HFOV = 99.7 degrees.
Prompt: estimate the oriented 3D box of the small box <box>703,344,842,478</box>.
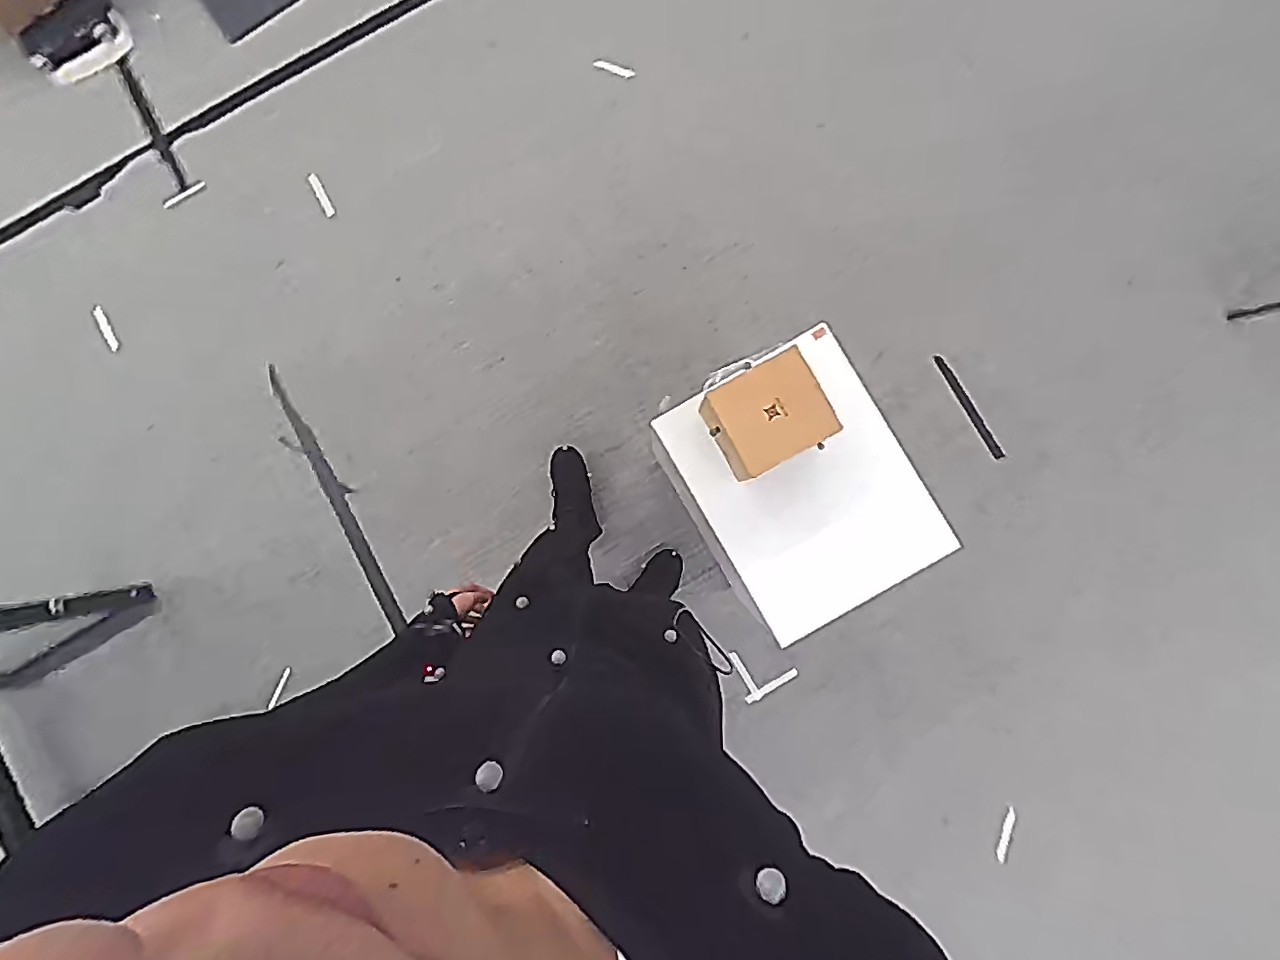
[{"bbox_3d":[0.225,-0.113,0.977,0.179,0.176,0.168,-29,87,0],"label":"small box"}]
